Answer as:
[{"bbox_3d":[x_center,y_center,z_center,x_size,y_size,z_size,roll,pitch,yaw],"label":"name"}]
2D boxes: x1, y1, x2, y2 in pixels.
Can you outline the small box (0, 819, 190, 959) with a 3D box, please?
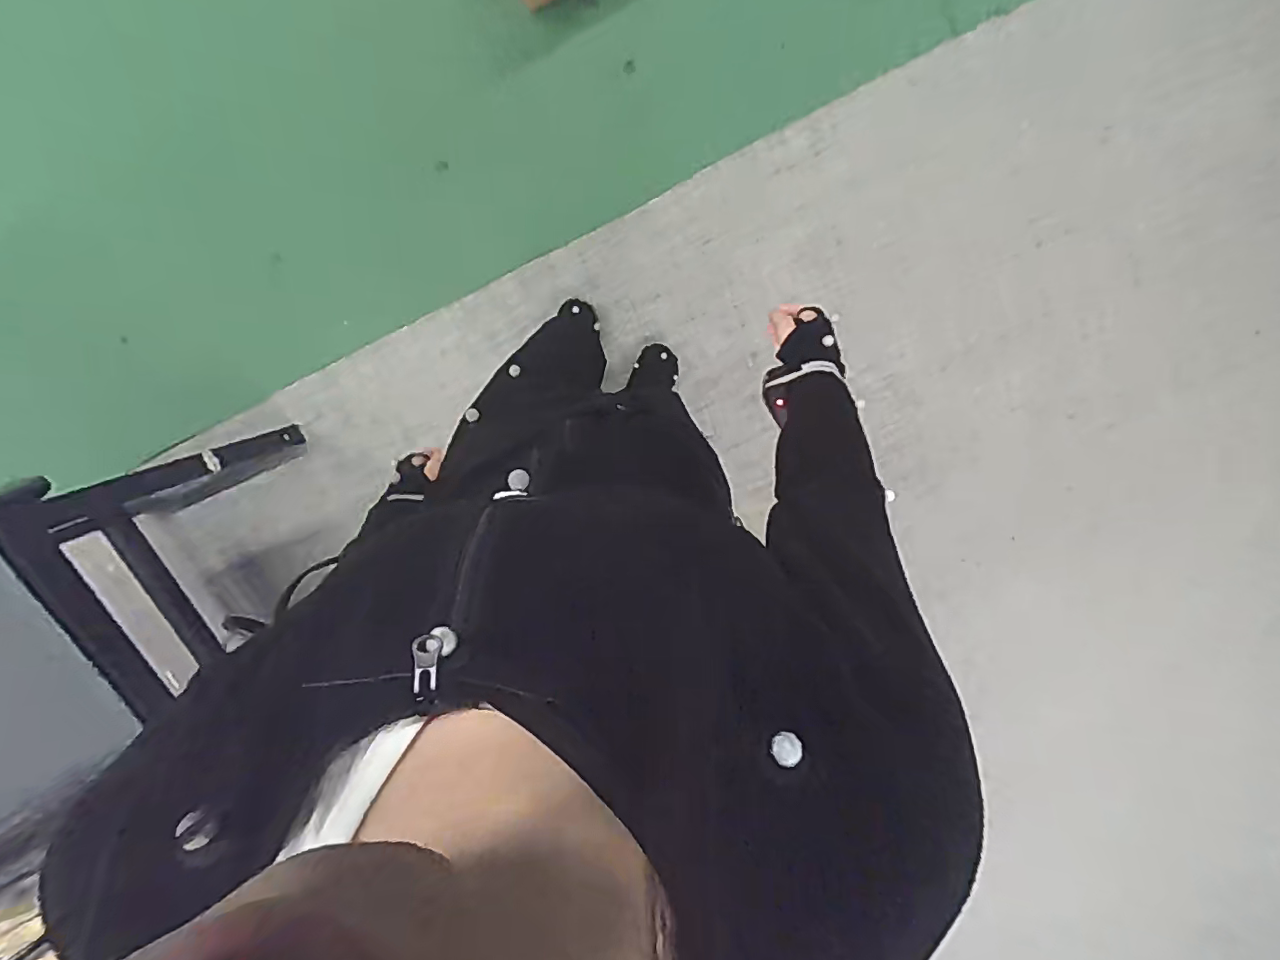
[{"bbox_3d":[-0.918,0.708,0.894,0.179,0.176,0.168,-23,105,9],"label":"small box"}]
